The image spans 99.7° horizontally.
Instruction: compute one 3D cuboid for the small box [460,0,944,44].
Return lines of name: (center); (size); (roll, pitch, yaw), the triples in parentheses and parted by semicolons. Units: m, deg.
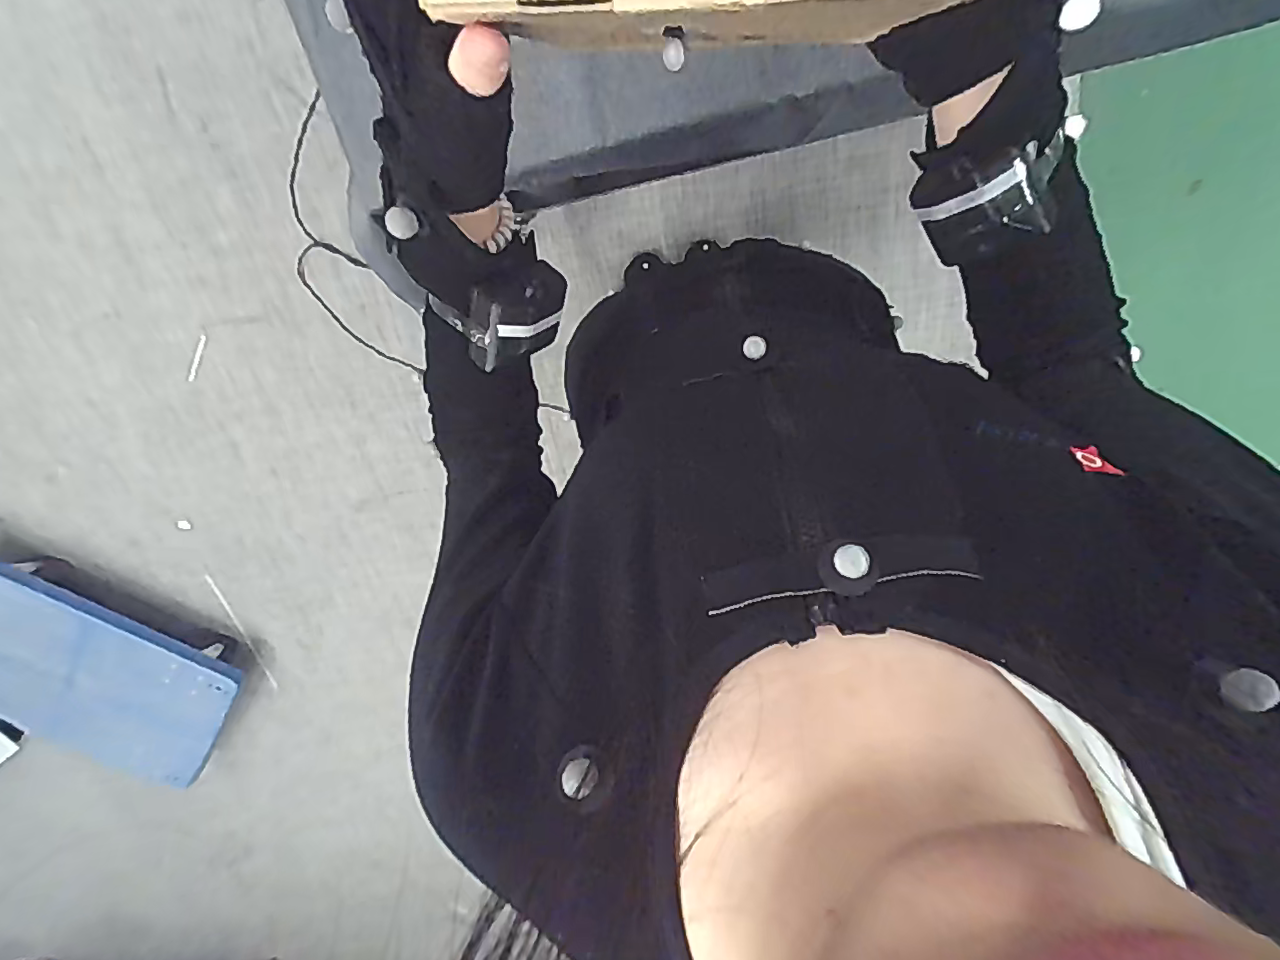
small box: (0.026, -0.259, 0.172); (0.168, 0.176, 0.179); (3, 127, 7)
